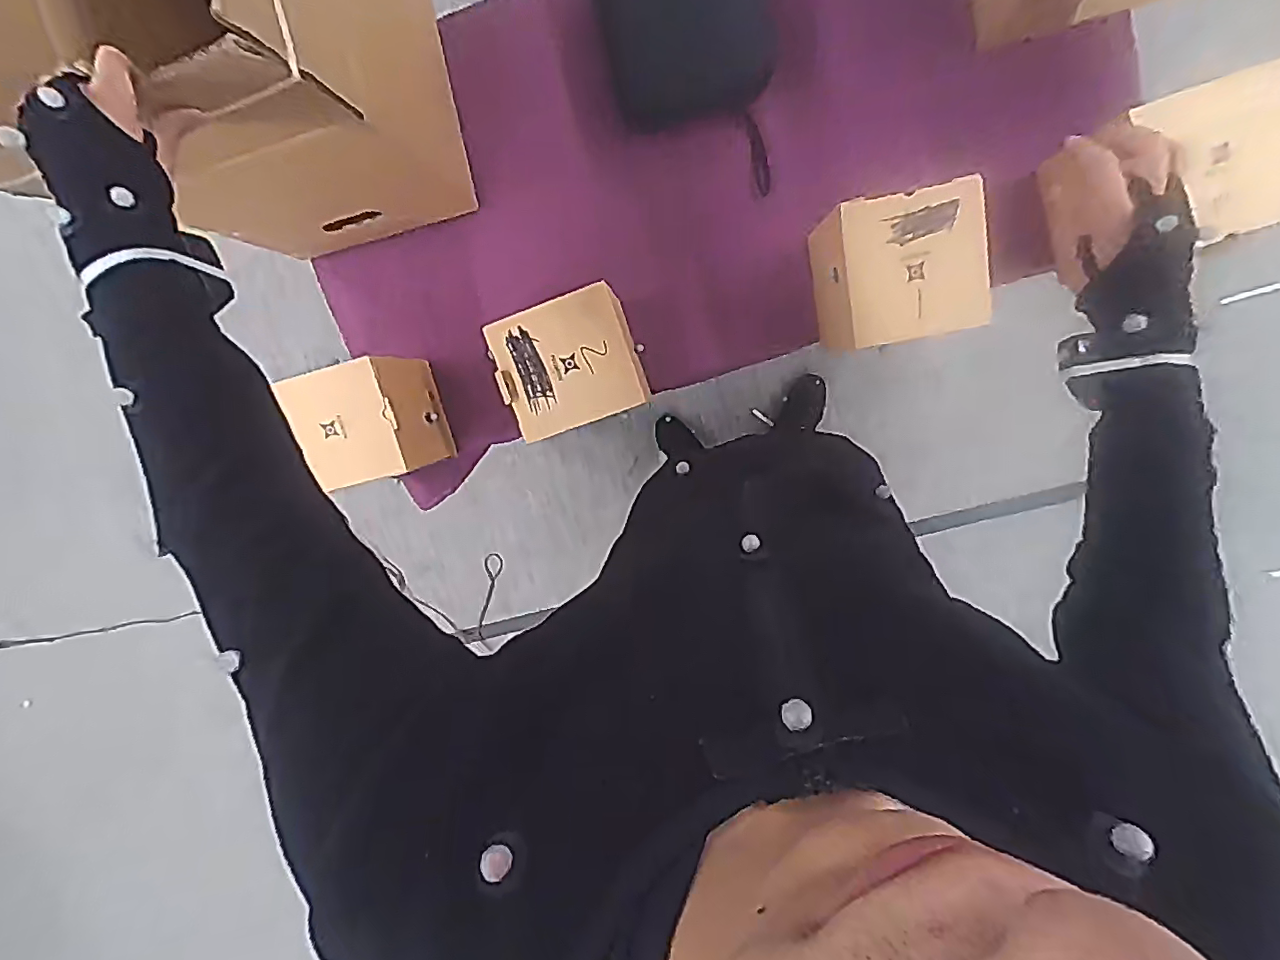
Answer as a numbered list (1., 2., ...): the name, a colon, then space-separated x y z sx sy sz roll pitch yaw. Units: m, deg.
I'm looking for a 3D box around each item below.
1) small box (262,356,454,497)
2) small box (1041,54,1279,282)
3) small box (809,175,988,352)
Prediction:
1. small box: -0.417 -0.084 0.830 0.179 0.176 0.168 -14 99 6
2. small box: 0.652 -0.374 0.685 0.168 0.176 0.179 -16 99 9
3. small box: 0.336 -0.277 0.732 0.168 0.176 0.179 -10 101 7
